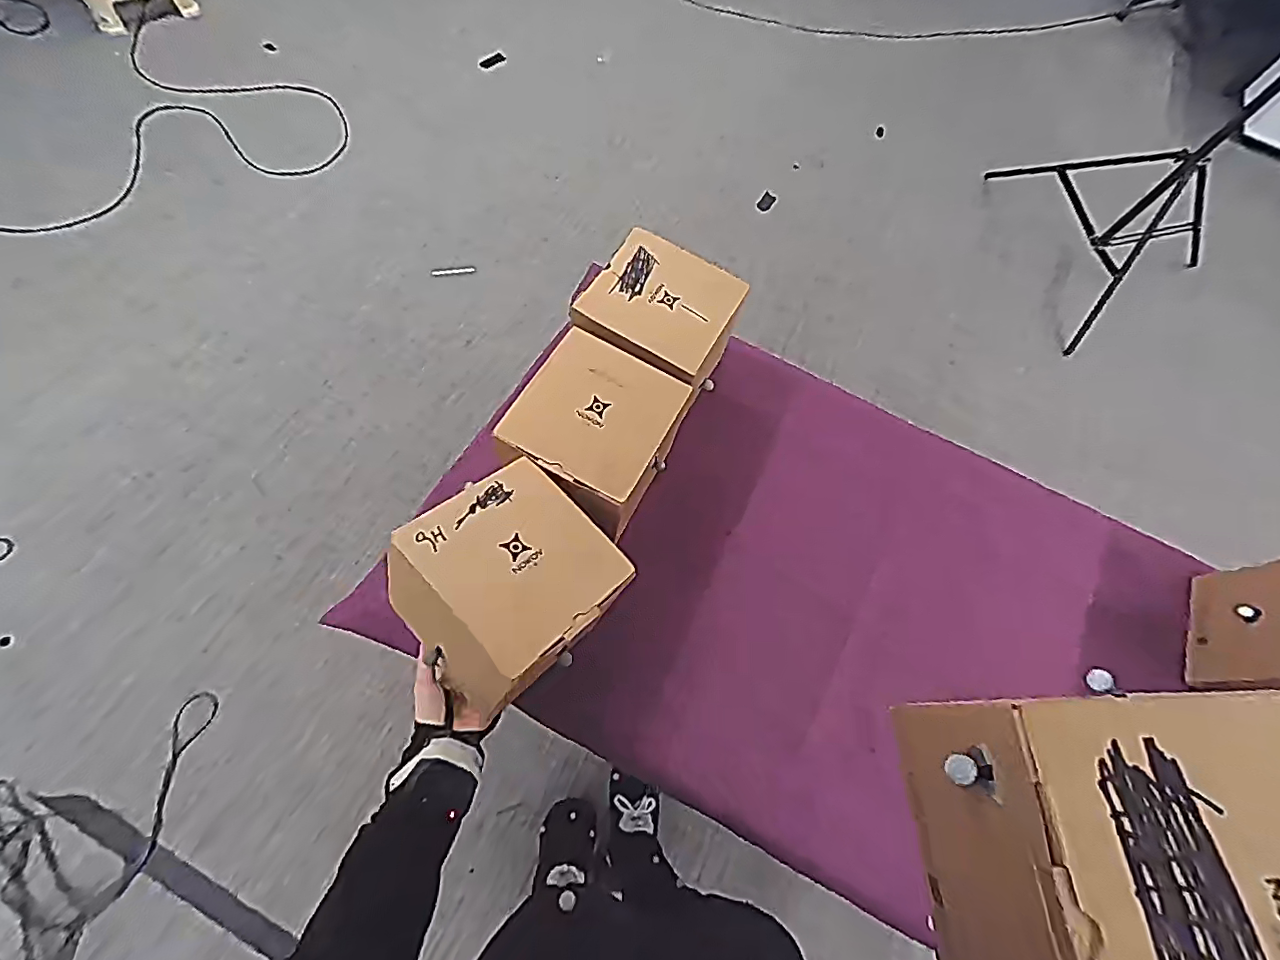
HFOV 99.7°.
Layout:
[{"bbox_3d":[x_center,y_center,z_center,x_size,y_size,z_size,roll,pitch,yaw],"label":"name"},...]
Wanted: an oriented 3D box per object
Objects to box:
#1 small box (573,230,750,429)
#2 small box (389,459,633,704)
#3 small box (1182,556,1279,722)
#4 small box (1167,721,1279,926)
[{"bbox_3d":[0.021,-0.199,0.755,0.179,0.176,0.168,30,68,5],"label":"small box"},{"bbox_3d":[-0.142,0.116,0.581,0.179,0.176,0.168,46,53,11],"label":"small box"},{"bbox_3d":[0.843,0.210,0.675,0.179,0.176,0.168,29,67,5],"label":"small box"},{"bbox_3d":[0.740,0.390,0.591,0.168,0.176,0.179,32,66,8],"label":"small box"}]
